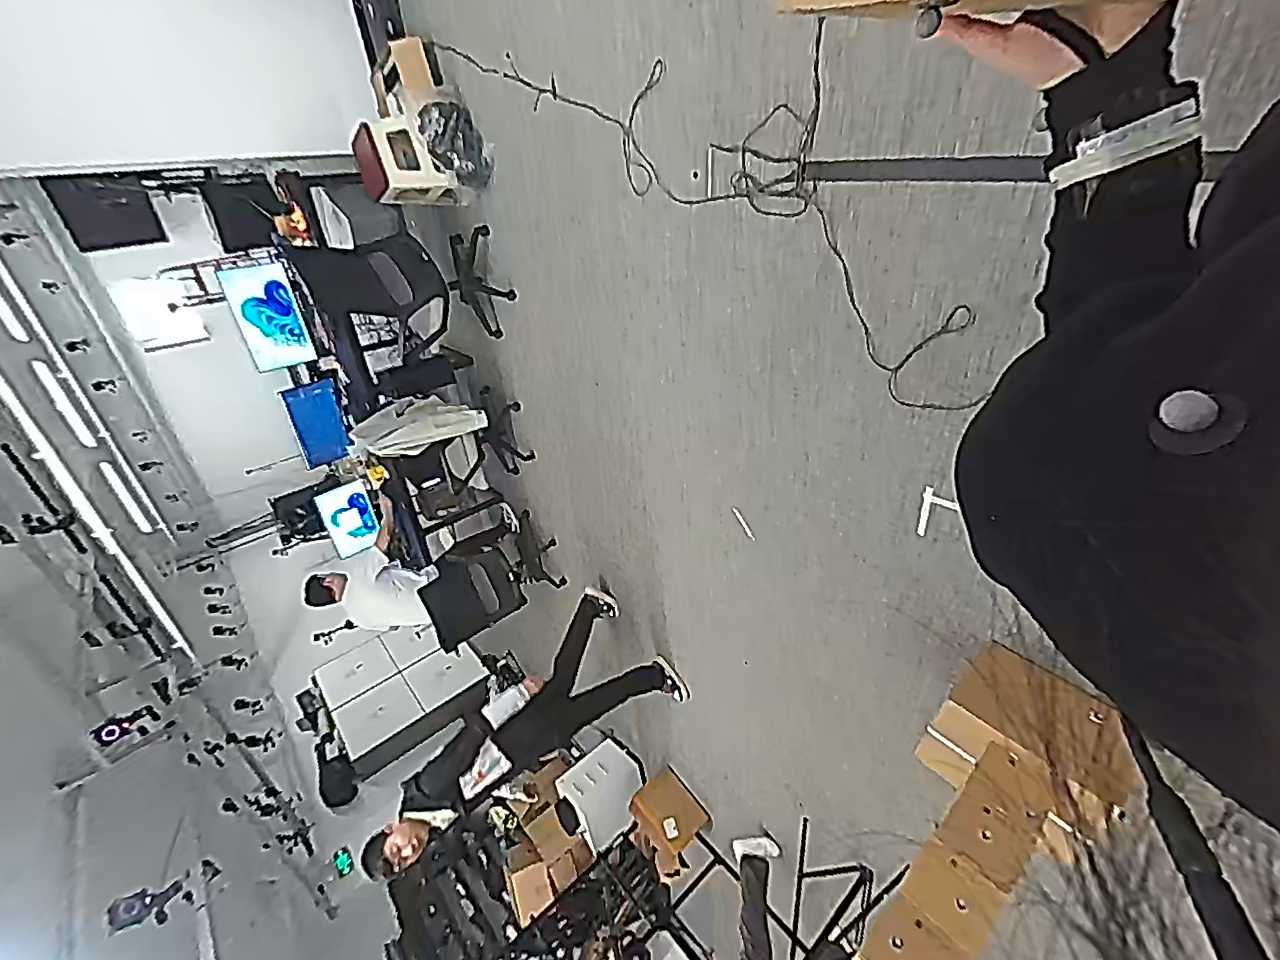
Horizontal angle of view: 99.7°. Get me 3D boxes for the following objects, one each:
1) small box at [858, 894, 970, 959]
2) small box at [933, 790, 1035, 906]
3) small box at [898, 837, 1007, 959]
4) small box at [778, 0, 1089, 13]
[{"bbox_3d":[0.563,1.019,1.122,0.168,0.176,0.179,31,138,41],"label":"small box"},{"bbox_3d":[0.807,0.892,1.294,0.168,0.176,0.179,33,137,38],"label":"small box"},{"bbox_3d":[0.684,0.951,1.207,0.168,0.176,0.179,31,136,39],"label":"small box"},{"bbox_3d":[0.191,-0.335,0.256,0.179,0.176,0.168,30,139,35],"label":"small box"}]
